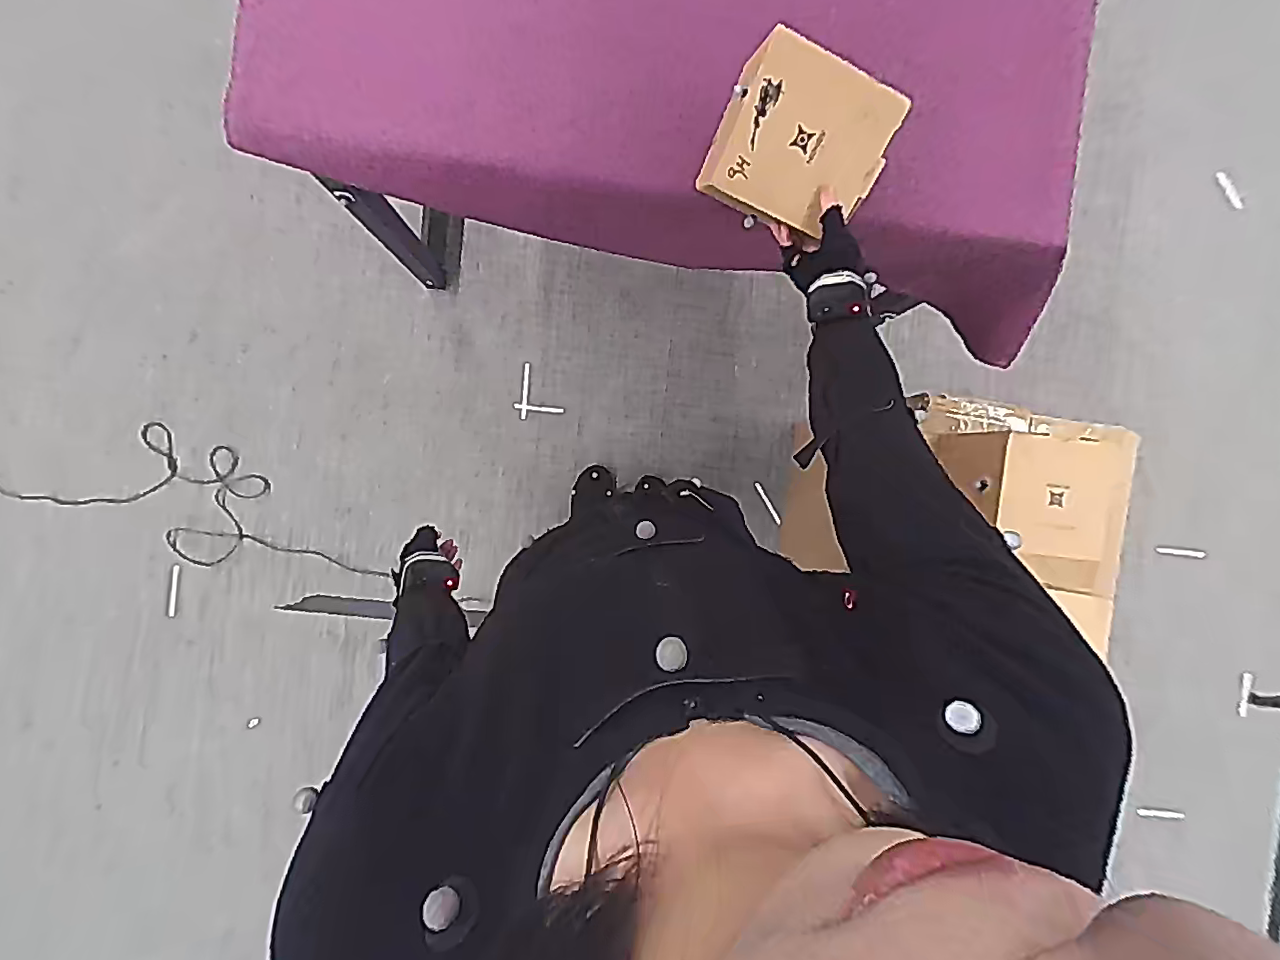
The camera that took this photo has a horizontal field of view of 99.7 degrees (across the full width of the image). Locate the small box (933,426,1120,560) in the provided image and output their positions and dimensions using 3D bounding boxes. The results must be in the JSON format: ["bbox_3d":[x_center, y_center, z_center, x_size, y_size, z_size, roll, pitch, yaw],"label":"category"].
[{"bbox_3d":[0.589,0.016,0.847,0.168,0.176,0.179,7,92,-2],"label":"small box"}]

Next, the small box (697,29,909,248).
[{"bbox_3d":[0.191,-0.421,0.691,0.179,0.176,0.168,21,115,-12],"label":"small box"}]
